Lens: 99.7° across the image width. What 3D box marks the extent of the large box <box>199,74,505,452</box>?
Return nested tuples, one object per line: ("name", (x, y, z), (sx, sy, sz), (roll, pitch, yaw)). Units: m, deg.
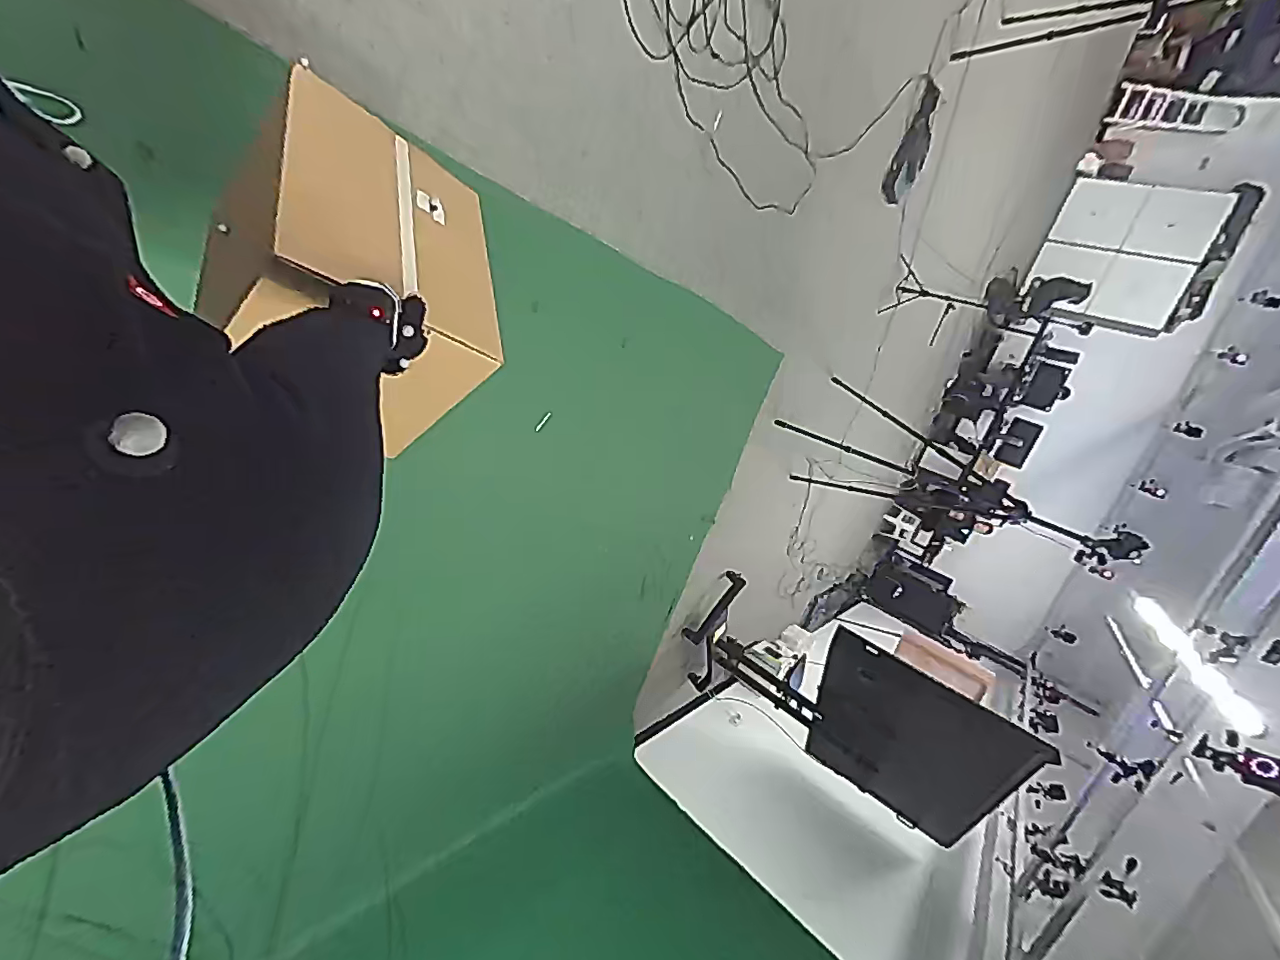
("large box", (-0.459, -0.312, 0.872), (0.320, 0.408, 0.320), (-31, 149, 28))
